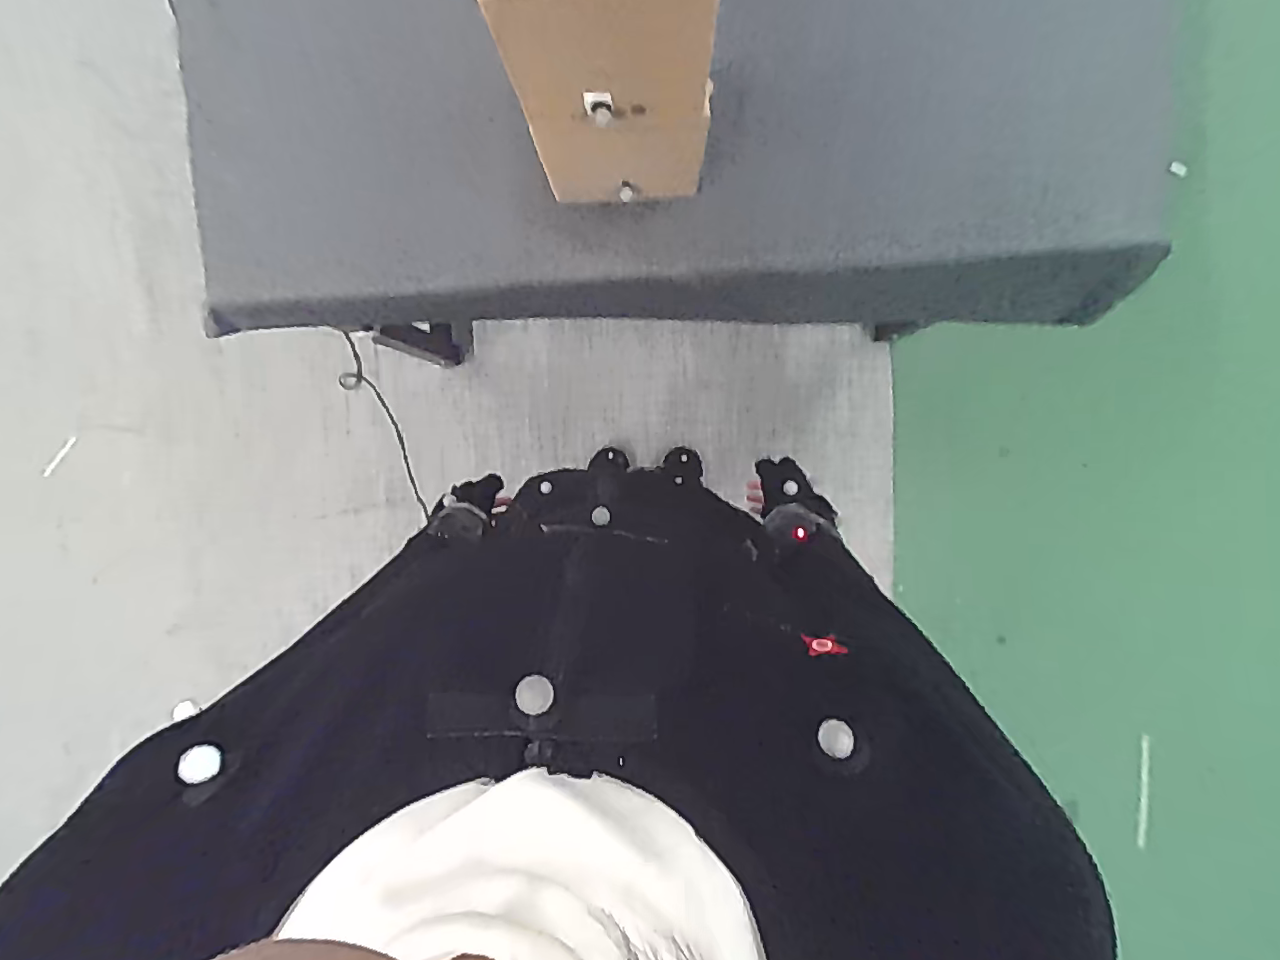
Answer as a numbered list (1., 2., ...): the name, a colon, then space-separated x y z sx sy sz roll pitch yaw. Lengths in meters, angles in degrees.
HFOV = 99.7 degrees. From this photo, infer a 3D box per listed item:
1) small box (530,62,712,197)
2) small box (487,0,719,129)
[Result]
1. small box: -0.019 -0.430 0.589 0.179 0.176 0.168 -2 94 2
2. small box: -0.027 -0.418 0.427 0.168 0.176 0.179 -2 95 4
